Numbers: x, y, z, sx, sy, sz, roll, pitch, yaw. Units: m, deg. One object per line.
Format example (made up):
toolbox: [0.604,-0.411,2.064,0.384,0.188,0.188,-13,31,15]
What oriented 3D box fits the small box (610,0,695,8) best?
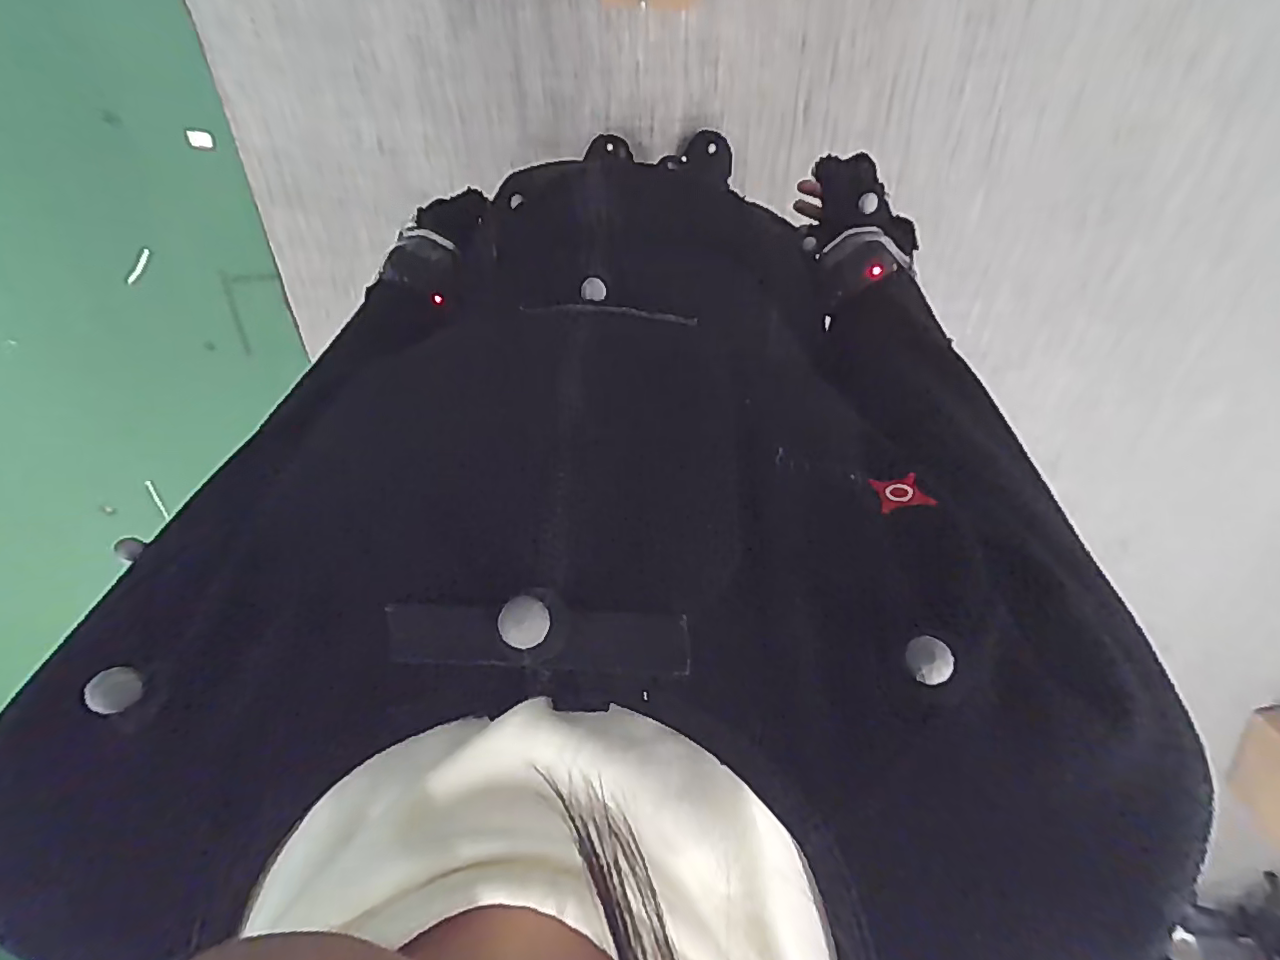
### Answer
small box: [0.021,-0.910,0.898,0.179,0.176,0.168,6,124,1]
